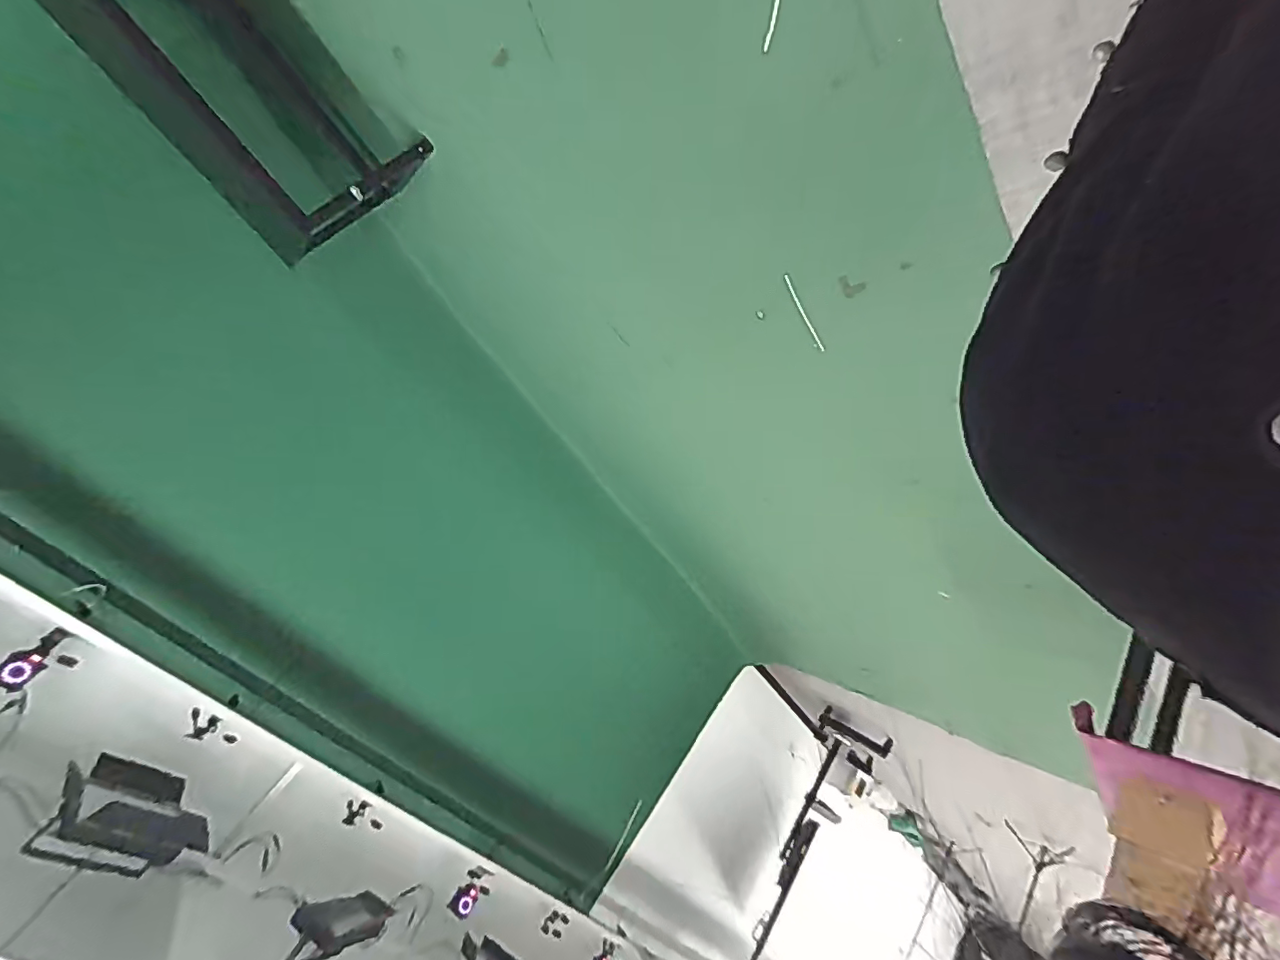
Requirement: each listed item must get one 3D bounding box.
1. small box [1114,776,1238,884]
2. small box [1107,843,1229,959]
[{"bbox_3d":[1.309,0.862,1.321,0.168,0.176,0.179,49,156,-23],"label":"small box"},{"bbox_3d":[1.224,0.984,1.253,0.179,0.176,0.168,6,140,52],"label":"small box"}]
